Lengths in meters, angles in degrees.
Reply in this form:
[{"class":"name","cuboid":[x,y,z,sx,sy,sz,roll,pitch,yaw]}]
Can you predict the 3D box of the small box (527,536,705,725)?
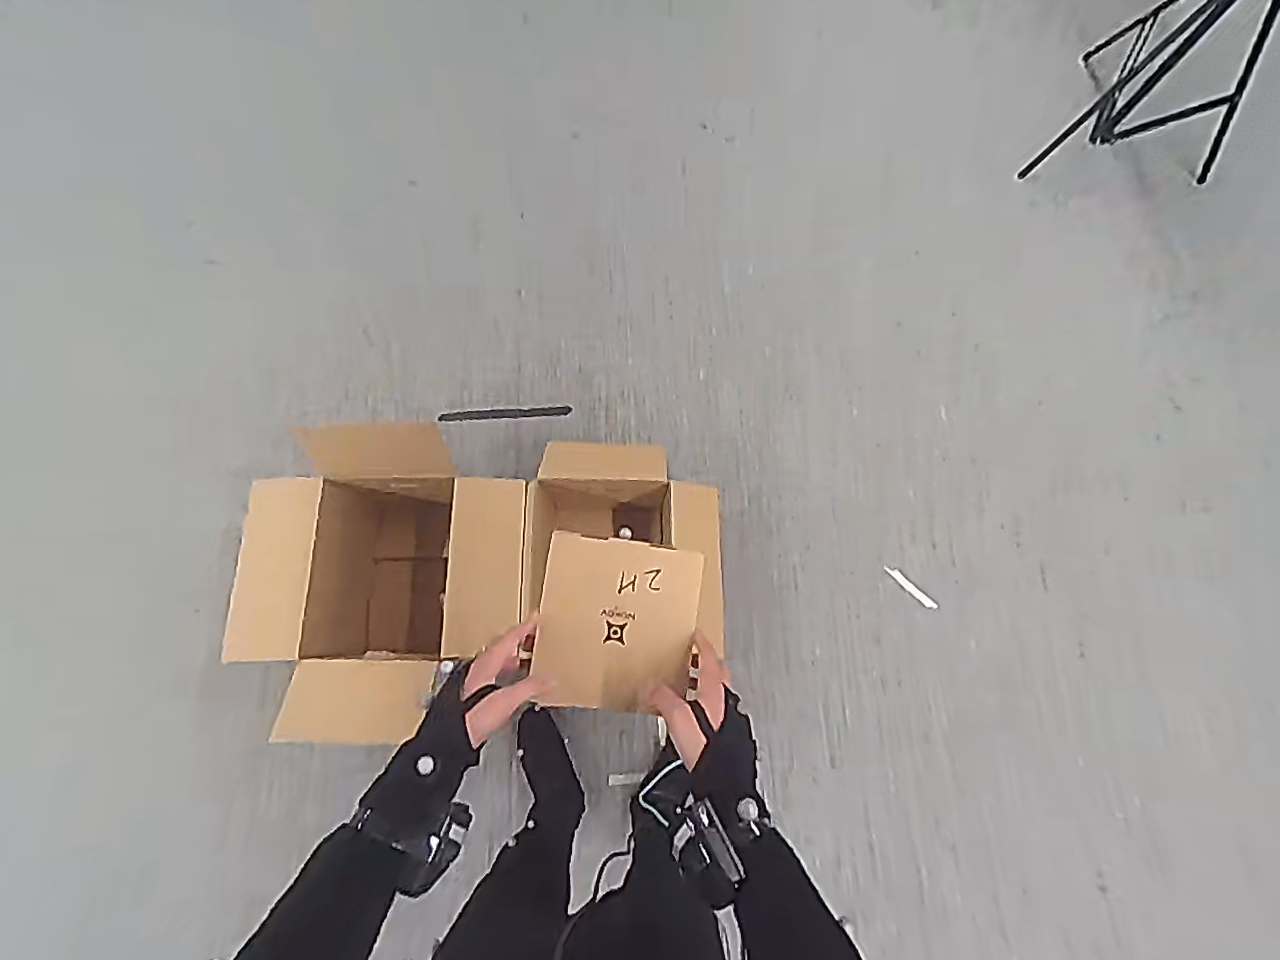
[{"class":"small box","cuboid":[-0.029,0.165,0.640,0.168,0.176,0.179,9,82,-4]}]
